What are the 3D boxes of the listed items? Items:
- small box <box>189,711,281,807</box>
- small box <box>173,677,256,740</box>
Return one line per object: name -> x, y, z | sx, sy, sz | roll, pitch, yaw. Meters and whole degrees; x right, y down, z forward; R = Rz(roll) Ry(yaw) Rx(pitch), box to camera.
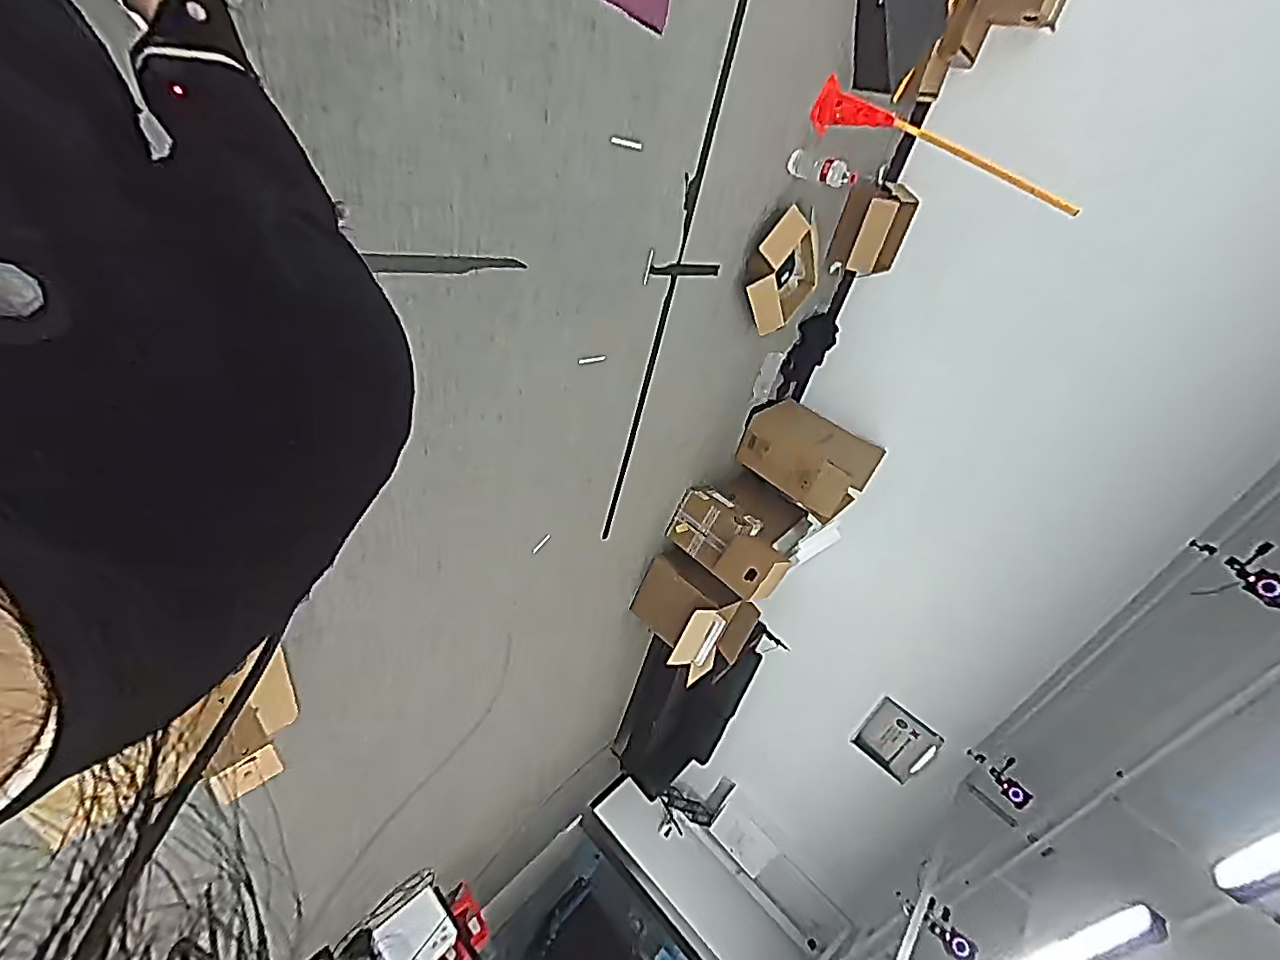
small box -> -1.251, 0.856, 1.674 | 0.168, 0.176, 0.179 | -27, 143, -41
small box -> -1.368, 0.769, 1.750 | 0.168, 0.176, 0.179 | -26, 141, -41
